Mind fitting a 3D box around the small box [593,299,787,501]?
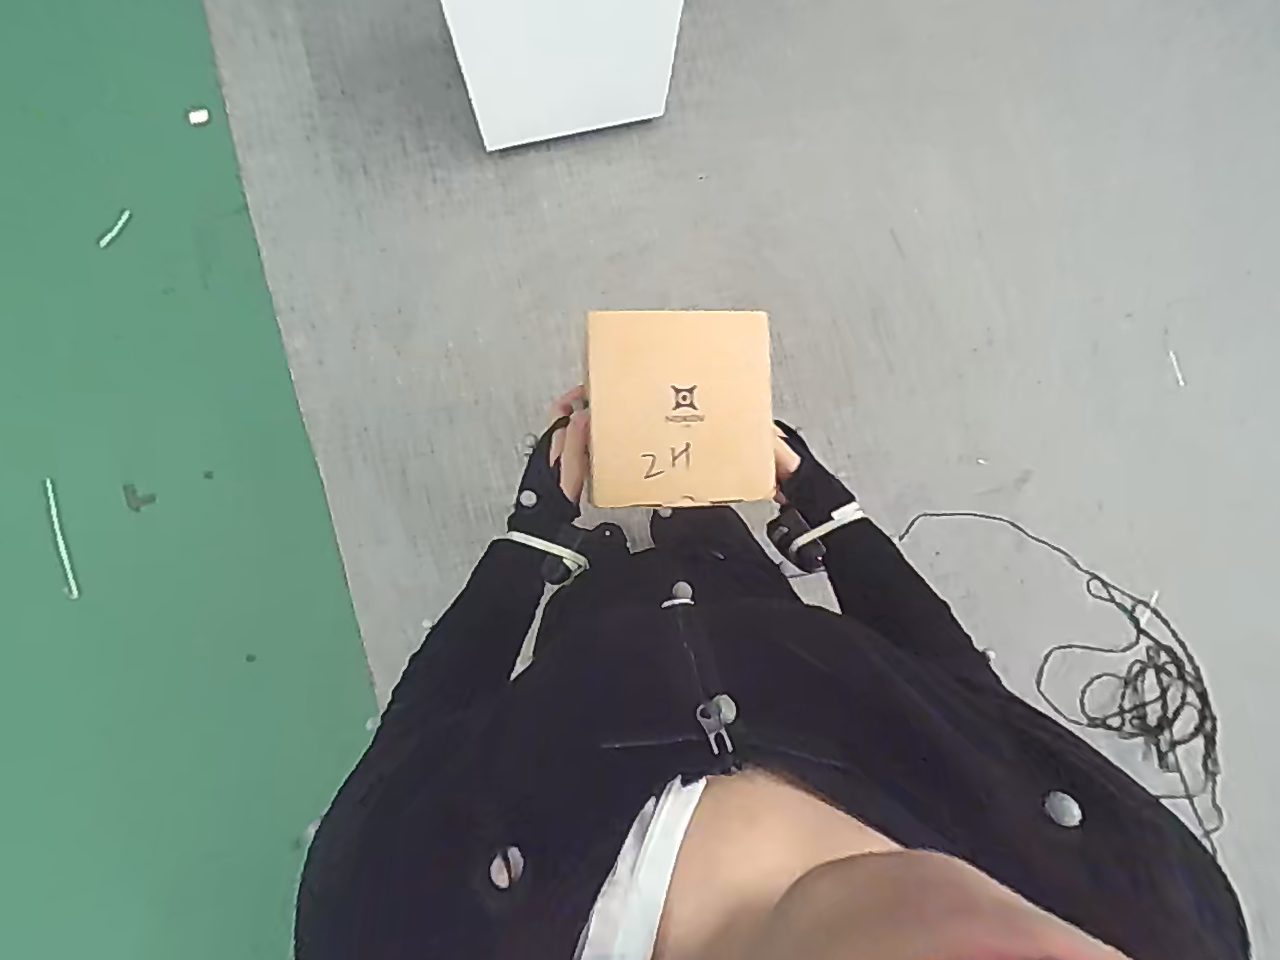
[{"bbox_3d":[0.038,-0.068,0.553,0.168,0.176,0.179,-1,89,-7],"label":"small box"}]
